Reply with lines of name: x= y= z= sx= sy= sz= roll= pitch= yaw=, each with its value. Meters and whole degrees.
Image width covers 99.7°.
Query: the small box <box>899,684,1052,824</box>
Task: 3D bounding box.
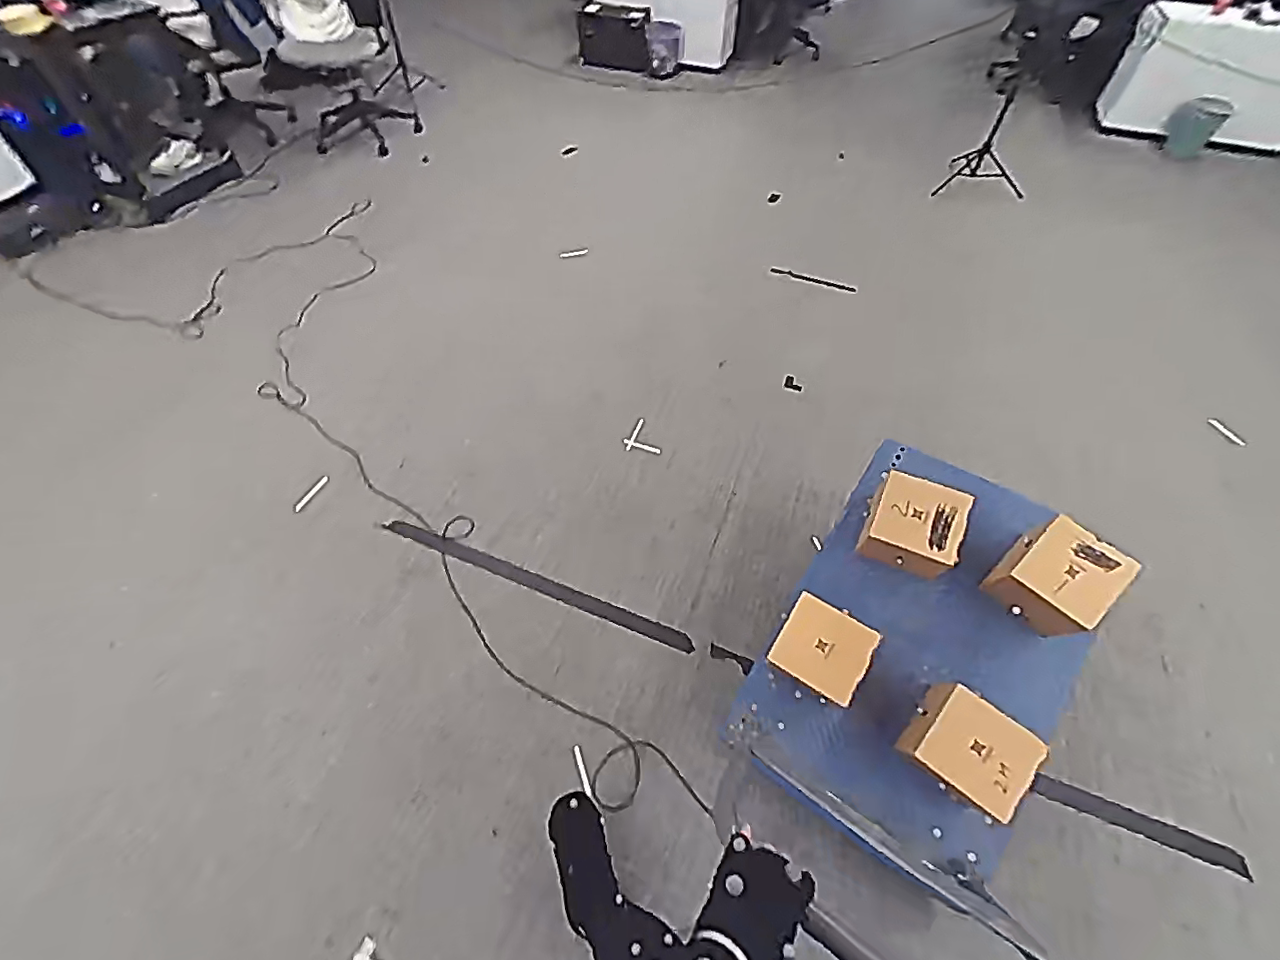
small box: x=0.644 y=0.528 z=1.064 sx=0.179 sy=0.176 sz=0.168 roll=36 pitch=80 yaw=21

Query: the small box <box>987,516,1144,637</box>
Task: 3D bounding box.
small box: x=0.878 y=0.208 z=1.140 sx=0.179 sy=0.176 sz=0.168 roll=-46 pitch=68 yaw=-6

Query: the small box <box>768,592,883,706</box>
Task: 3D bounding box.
small box: x=0.392 y=0.370 z=1.176 sx=0.179 sy=0.176 sz=0.168 roll=29 pitch=77 yaw=18
